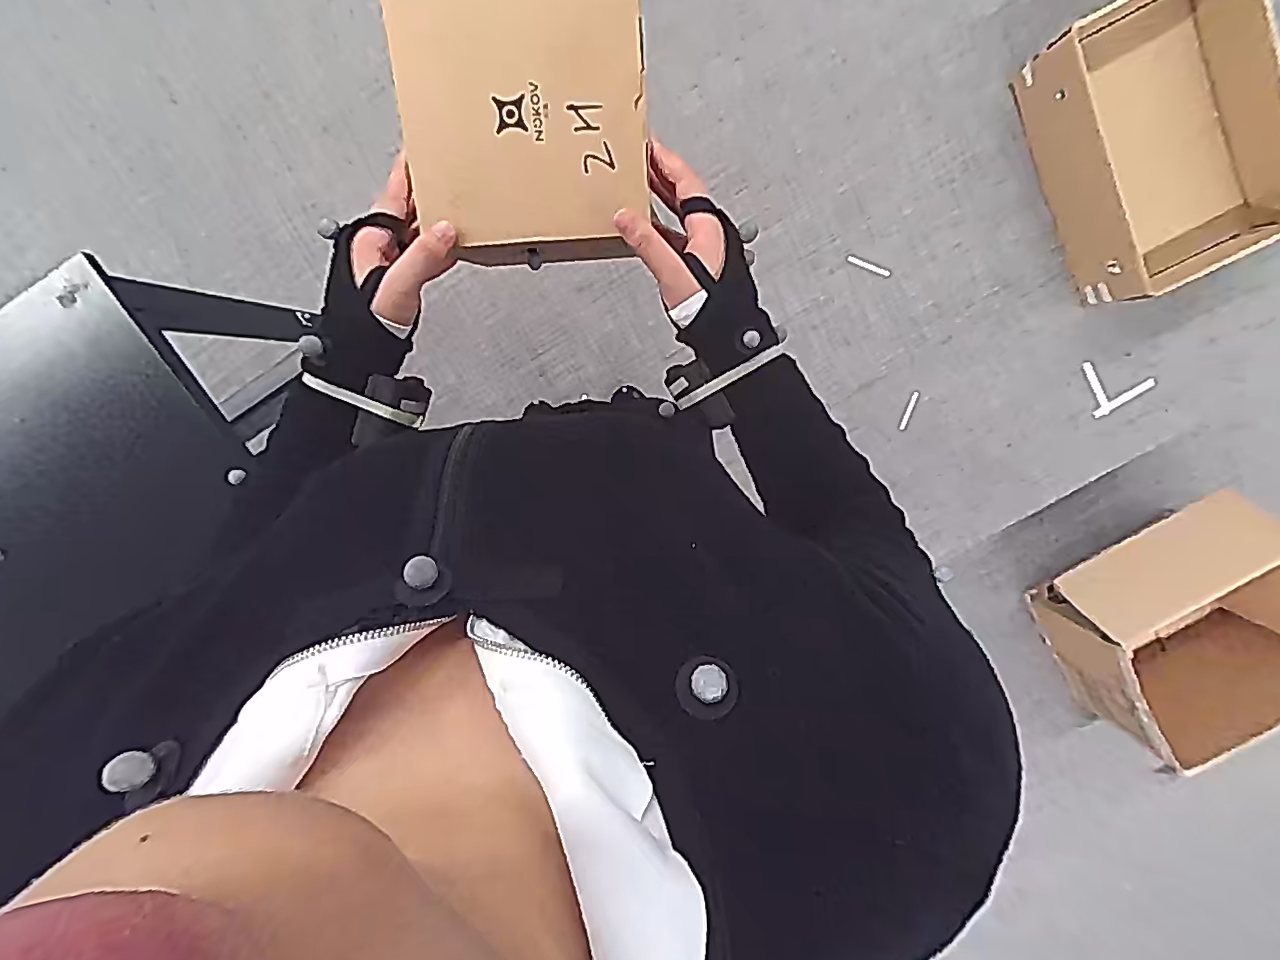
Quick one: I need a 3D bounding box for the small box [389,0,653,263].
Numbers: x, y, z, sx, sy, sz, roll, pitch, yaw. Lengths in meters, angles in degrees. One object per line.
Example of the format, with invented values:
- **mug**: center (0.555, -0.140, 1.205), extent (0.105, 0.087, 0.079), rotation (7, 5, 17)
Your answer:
- **small box**: center (-0.080, -0.284, 0.463), extent (0.179, 0.176, 0.168), rotation (-3, 108, 2)
